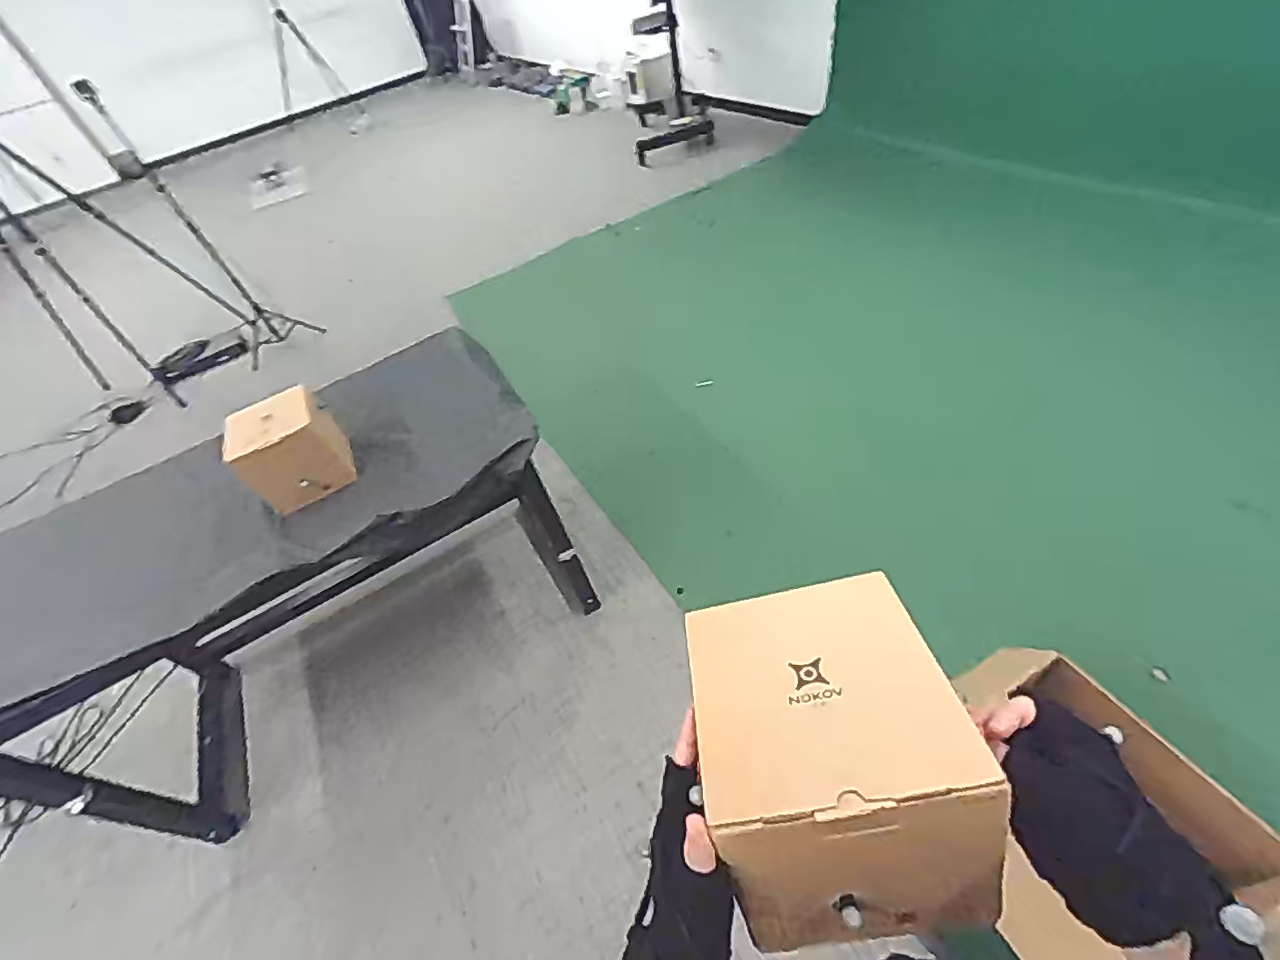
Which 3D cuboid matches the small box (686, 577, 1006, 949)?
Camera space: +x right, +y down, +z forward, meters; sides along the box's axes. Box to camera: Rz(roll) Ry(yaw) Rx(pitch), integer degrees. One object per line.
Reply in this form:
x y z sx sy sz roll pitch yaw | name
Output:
0.137 0.206 0.409 0.168 0.176 0.179 -14 30 7 | small box

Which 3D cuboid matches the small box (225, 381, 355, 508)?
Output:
-0.733 -0.073 1.141 0.168 0.176 0.179 -29 49 -13 | small box
